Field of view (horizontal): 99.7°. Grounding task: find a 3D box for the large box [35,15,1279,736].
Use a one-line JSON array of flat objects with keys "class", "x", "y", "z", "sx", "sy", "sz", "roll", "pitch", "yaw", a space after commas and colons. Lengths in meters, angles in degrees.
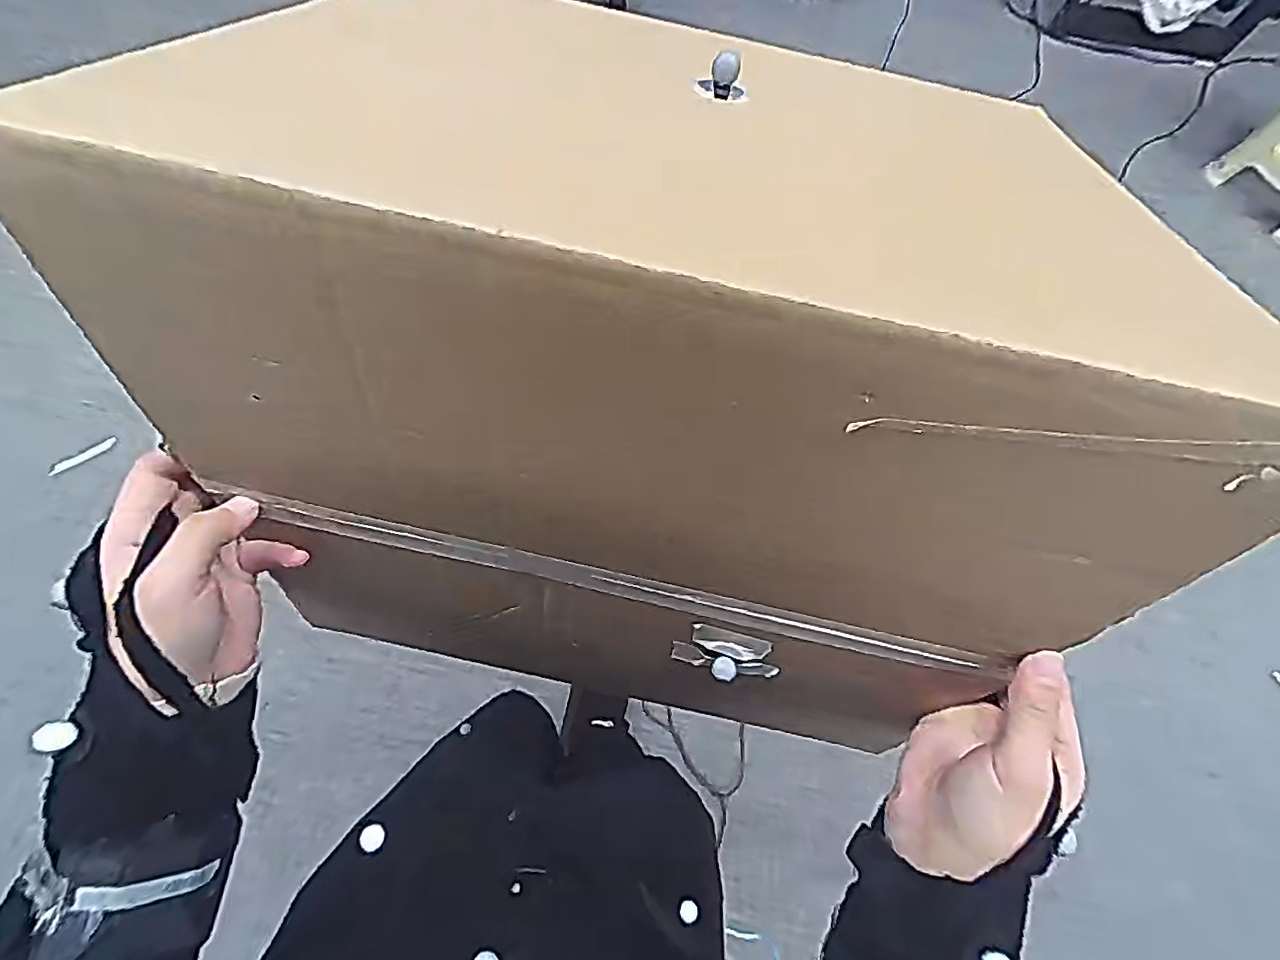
[{"class": "large box", "x": 0.011, "y": -0.066, "z": 0.369, "sx": 0.408, "sy": 0.320, "sz": 0.320, "roll": 12, "pitch": 50, "yaw": 0}]
